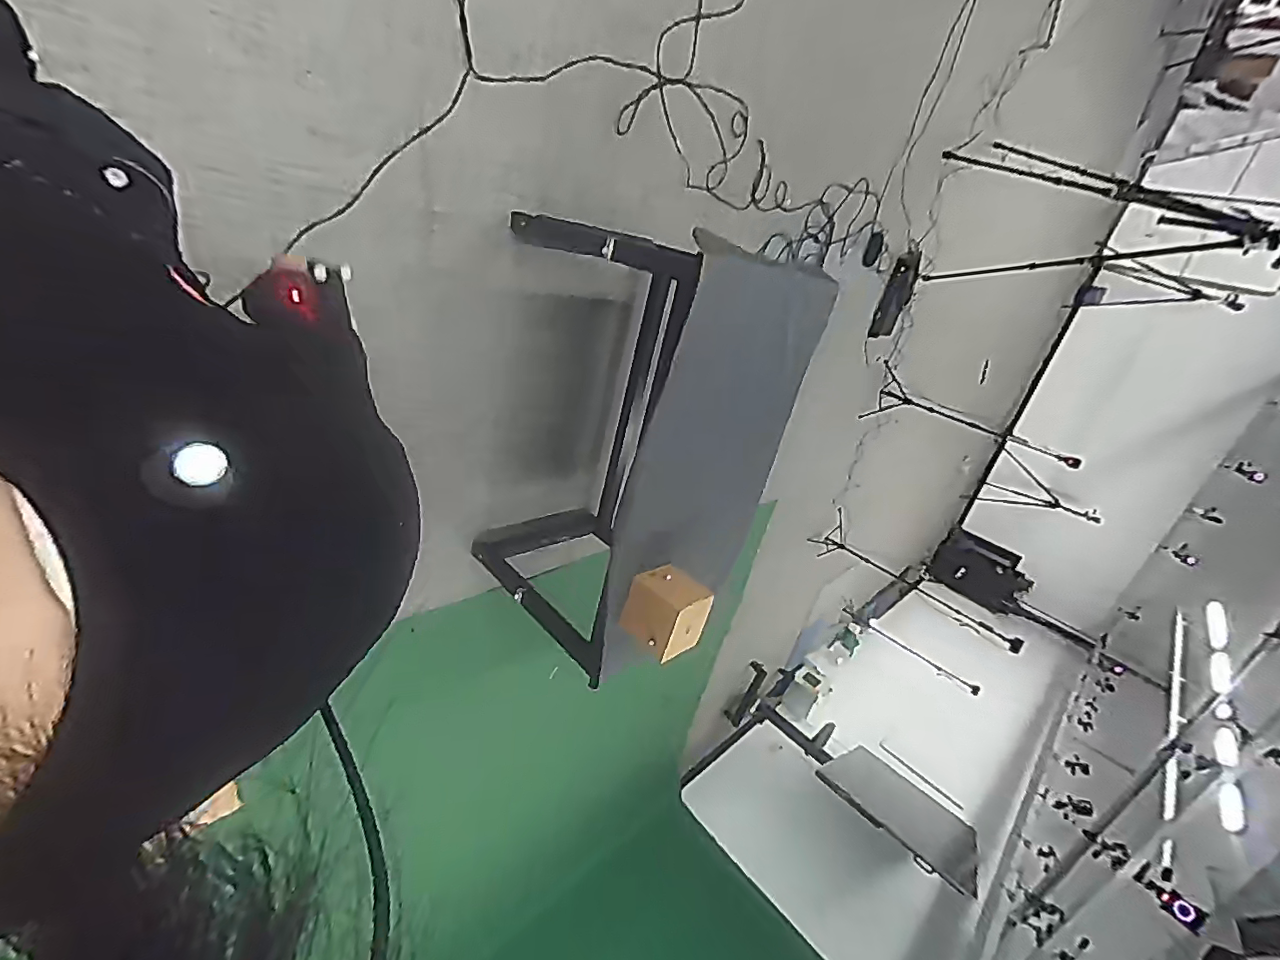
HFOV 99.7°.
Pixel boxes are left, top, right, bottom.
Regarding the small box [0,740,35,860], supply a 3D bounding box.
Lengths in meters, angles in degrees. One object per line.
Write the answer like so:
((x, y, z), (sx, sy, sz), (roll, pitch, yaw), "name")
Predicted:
((-1.422, 0.704, 1.158), (0.168, 0.176, 0.179), (-2, 116, -50), "small box")

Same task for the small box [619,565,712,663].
((0.064, 0.360, 1.484), (0.168, 0.176, 0.179), (-8, 121, -50), "small box")

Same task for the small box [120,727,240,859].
((-1.091, 0.731, 1.285), (0.179, 0.176, 0.168), (-19, 127, -39), "small box")
